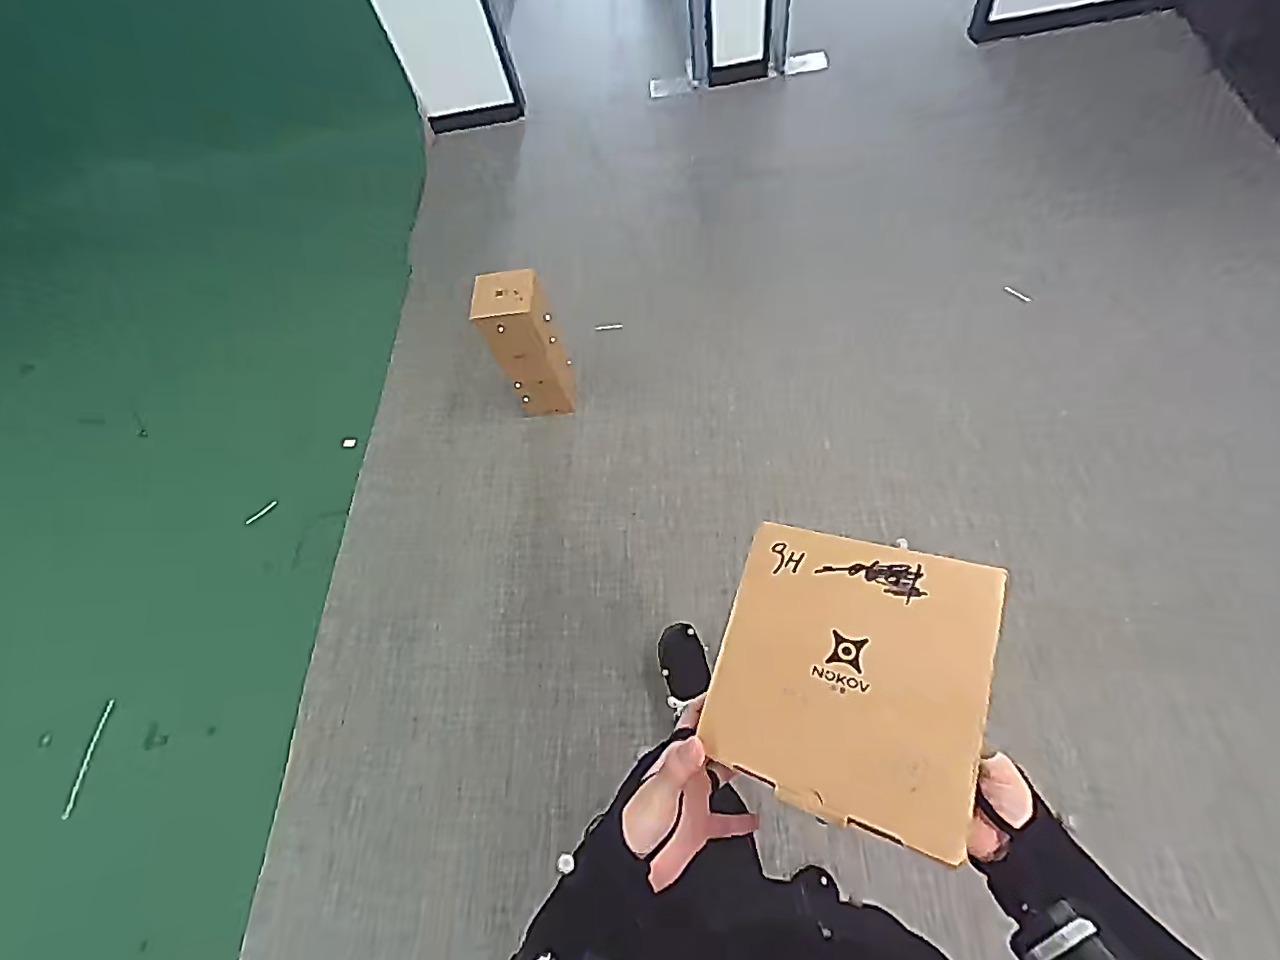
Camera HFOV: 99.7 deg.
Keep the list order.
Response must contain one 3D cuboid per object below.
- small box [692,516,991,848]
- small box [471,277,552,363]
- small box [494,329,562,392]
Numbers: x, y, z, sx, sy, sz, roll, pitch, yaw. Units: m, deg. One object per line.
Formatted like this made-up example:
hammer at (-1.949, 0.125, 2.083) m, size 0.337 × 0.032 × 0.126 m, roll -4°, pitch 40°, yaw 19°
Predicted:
small box at (0.164, 0.150, 0.430) m, size 0.168 × 0.176 × 0.179 m, roll 9°, pitch 70°, yaw 29°
small box at (-0.369, -0.461, 1.579) m, size 0.179 × 0.176 × 0.168 m, roll -4°, pitch 63°, yaw 6°
small box at (-0.351, -0.395, 1.730) m, size 0.168 × 0.176 × 0.179 m, roll -6°, pitch 61°, yaw 6°
